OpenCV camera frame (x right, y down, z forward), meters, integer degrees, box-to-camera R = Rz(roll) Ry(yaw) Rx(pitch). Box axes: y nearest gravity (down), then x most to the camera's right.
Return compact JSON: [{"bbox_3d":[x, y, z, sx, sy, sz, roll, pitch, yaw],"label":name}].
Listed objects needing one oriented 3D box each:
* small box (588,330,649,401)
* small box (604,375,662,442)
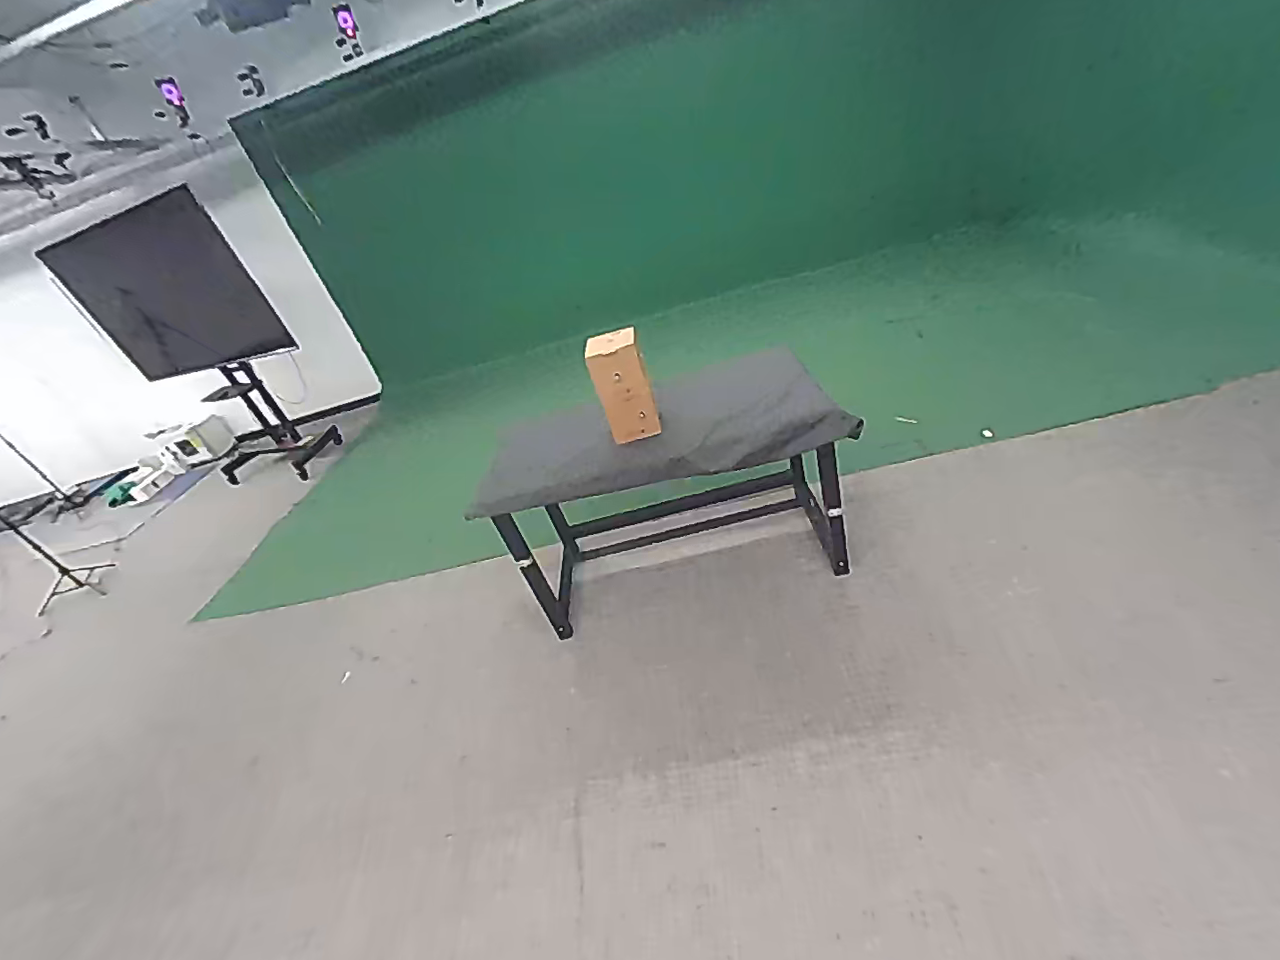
[{"bbox_3d":[-0.068,-0.379,1.818,0.168,0.176,0.179,-12,34,7],"label":"small box"},{"bbox_3d":[-0.022,-0.245,1.901,0.168,0.176,0.179,-14,31,6],"label":"small box"}]
